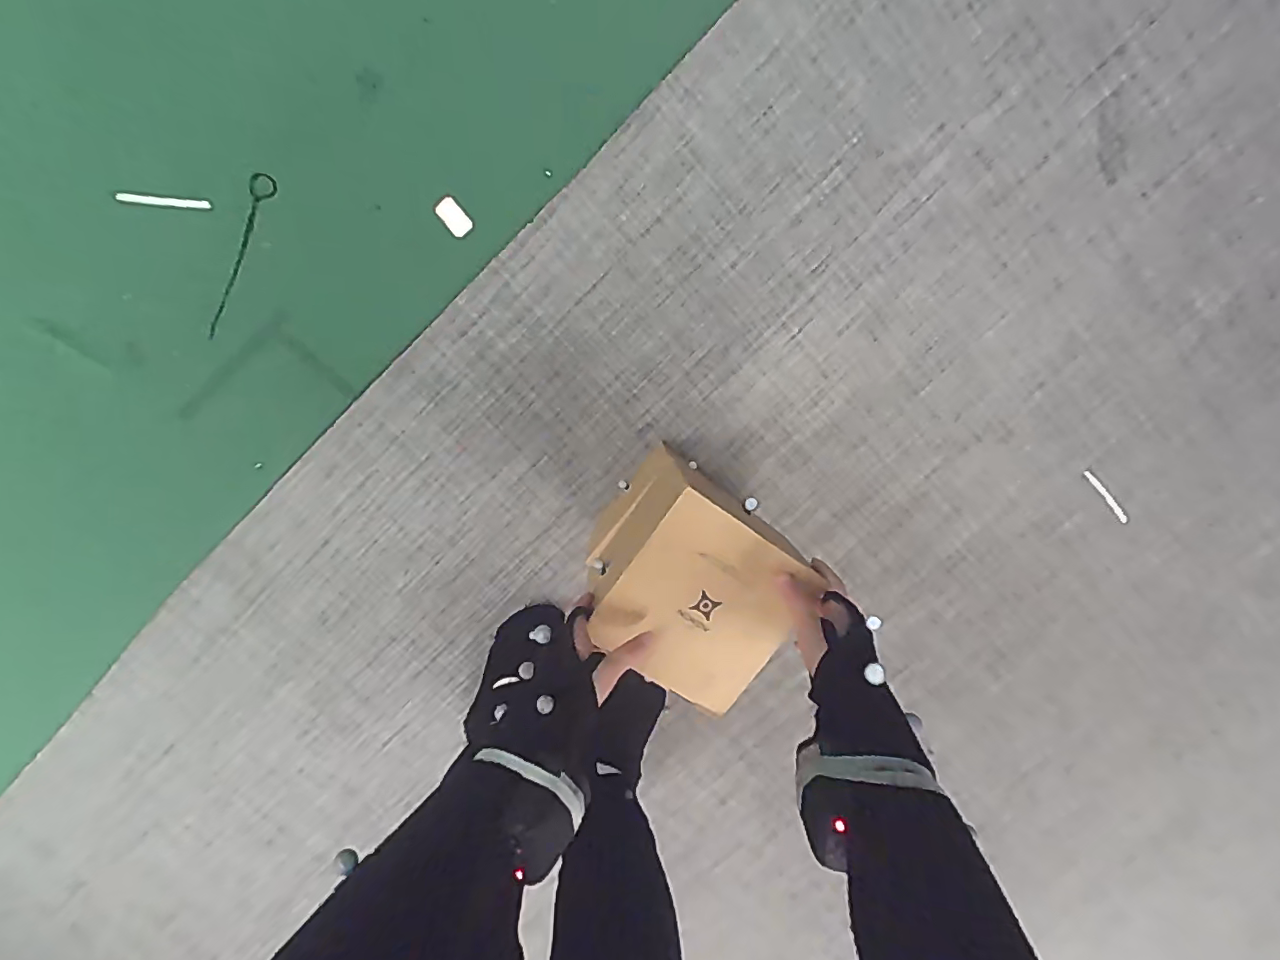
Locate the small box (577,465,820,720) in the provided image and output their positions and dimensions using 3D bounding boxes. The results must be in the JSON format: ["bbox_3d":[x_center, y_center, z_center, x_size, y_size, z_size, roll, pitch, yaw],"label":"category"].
[{"bbox_3d":[0.054,0.106,0.583,0.168,0.176,0.179,35,98,-8],"label":"small box"}]
